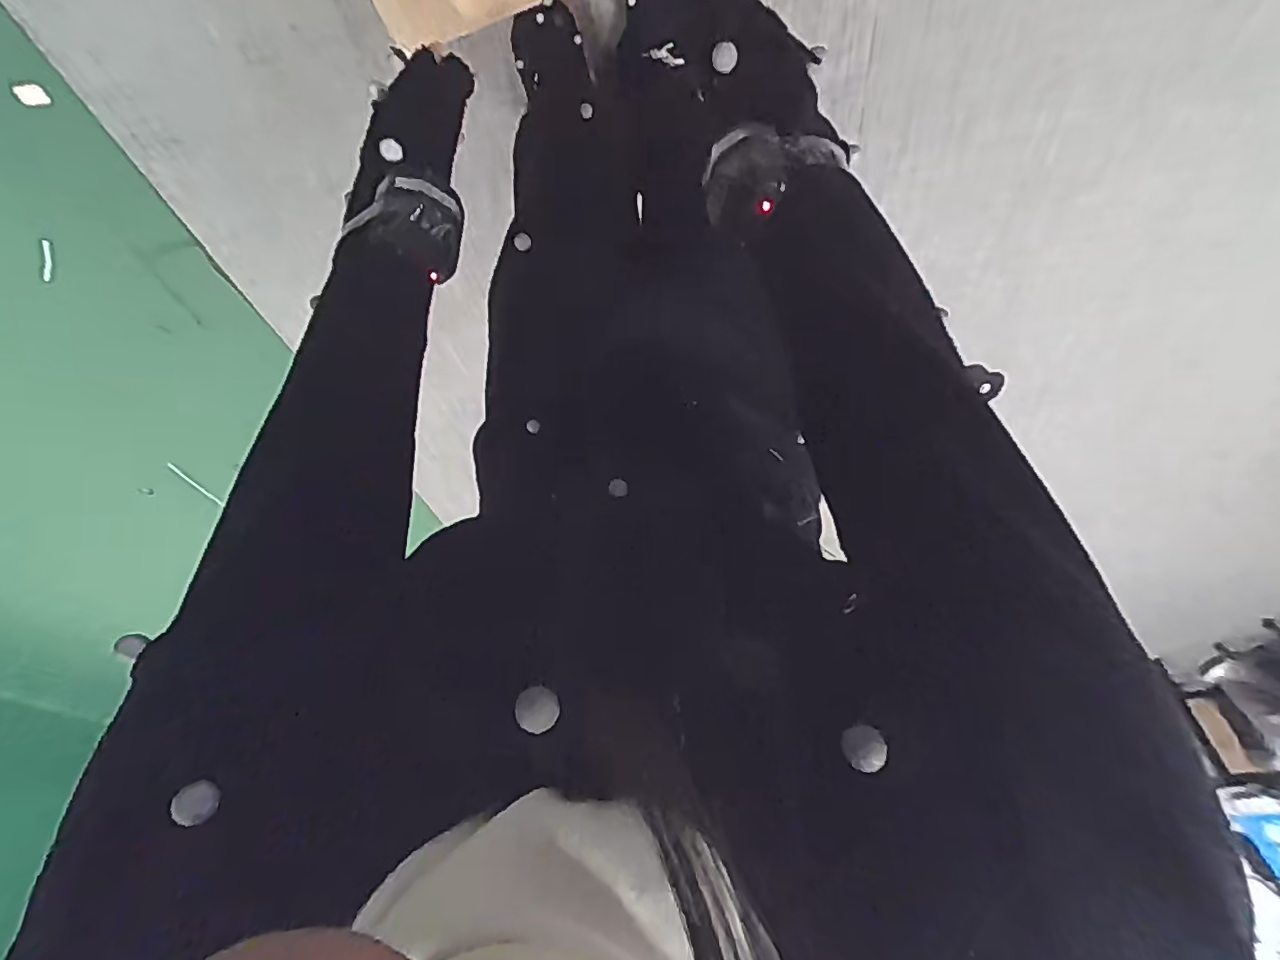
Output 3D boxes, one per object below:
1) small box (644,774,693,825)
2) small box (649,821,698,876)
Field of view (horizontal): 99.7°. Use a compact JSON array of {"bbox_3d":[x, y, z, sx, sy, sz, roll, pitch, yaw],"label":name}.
[{"bbox_3d":[0.119,1.329,2.243,0.179,0.176,0.168,-10,142,12],"label":"small box"},{"bbox_3d":[0.133,1.463,2.149,0.168,0.176,0.179,-9,142,9],"label":"small box"}]
